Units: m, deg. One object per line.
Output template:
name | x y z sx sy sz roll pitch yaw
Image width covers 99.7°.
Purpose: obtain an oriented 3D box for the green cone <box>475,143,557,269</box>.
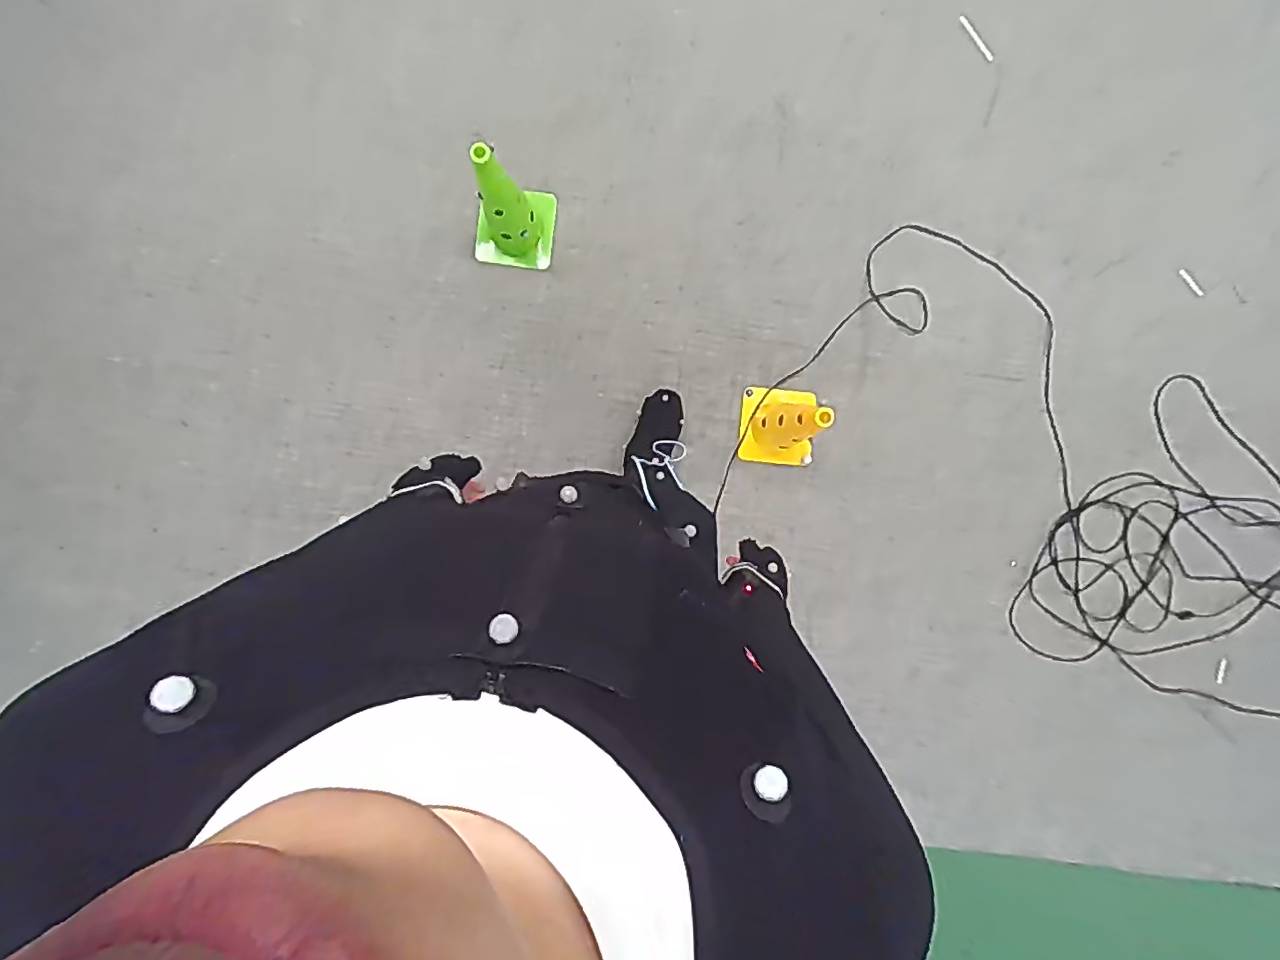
green cone | -0.320 -0.659 1.258 0.202 0.368 0.200 7 93 -3
